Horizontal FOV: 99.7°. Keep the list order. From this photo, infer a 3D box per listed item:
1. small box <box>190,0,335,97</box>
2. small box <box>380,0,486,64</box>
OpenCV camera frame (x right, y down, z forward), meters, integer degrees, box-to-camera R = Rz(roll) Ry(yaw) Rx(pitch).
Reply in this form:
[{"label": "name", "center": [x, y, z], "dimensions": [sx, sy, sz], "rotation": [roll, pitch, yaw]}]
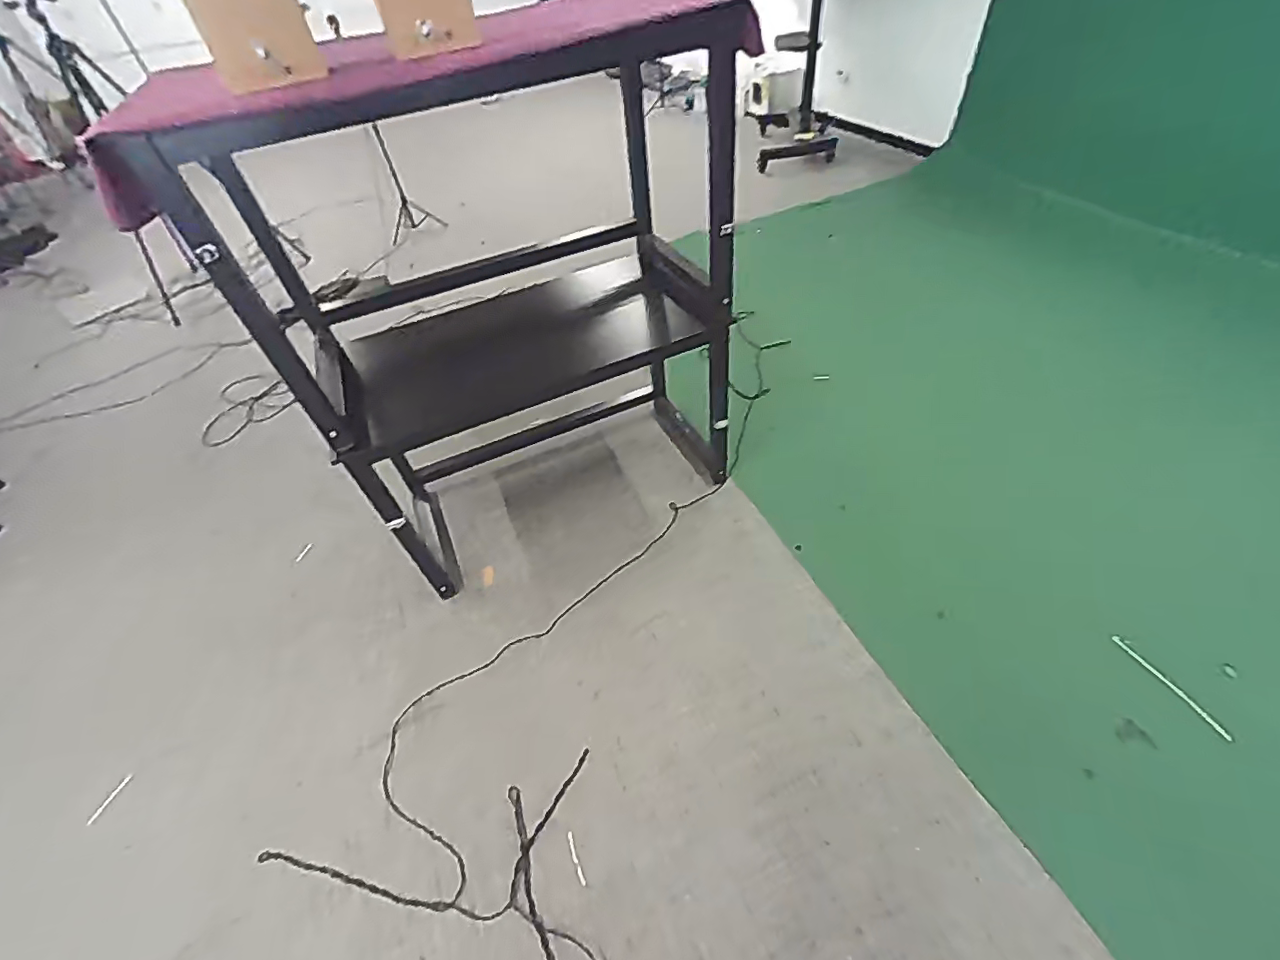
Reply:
[{"label": "small box", "center": [-0.663, -0.797, 0.952], "dimensions": [0.168, 0.176, 0.179], "rotation": [-23, 48, -13]}, {"label": "small box", "center": [-0.407, -0.914, 1.028], "dimensions": [0.168, 0.176, 0.179], "rotation": [-20, 47, -10]}]
